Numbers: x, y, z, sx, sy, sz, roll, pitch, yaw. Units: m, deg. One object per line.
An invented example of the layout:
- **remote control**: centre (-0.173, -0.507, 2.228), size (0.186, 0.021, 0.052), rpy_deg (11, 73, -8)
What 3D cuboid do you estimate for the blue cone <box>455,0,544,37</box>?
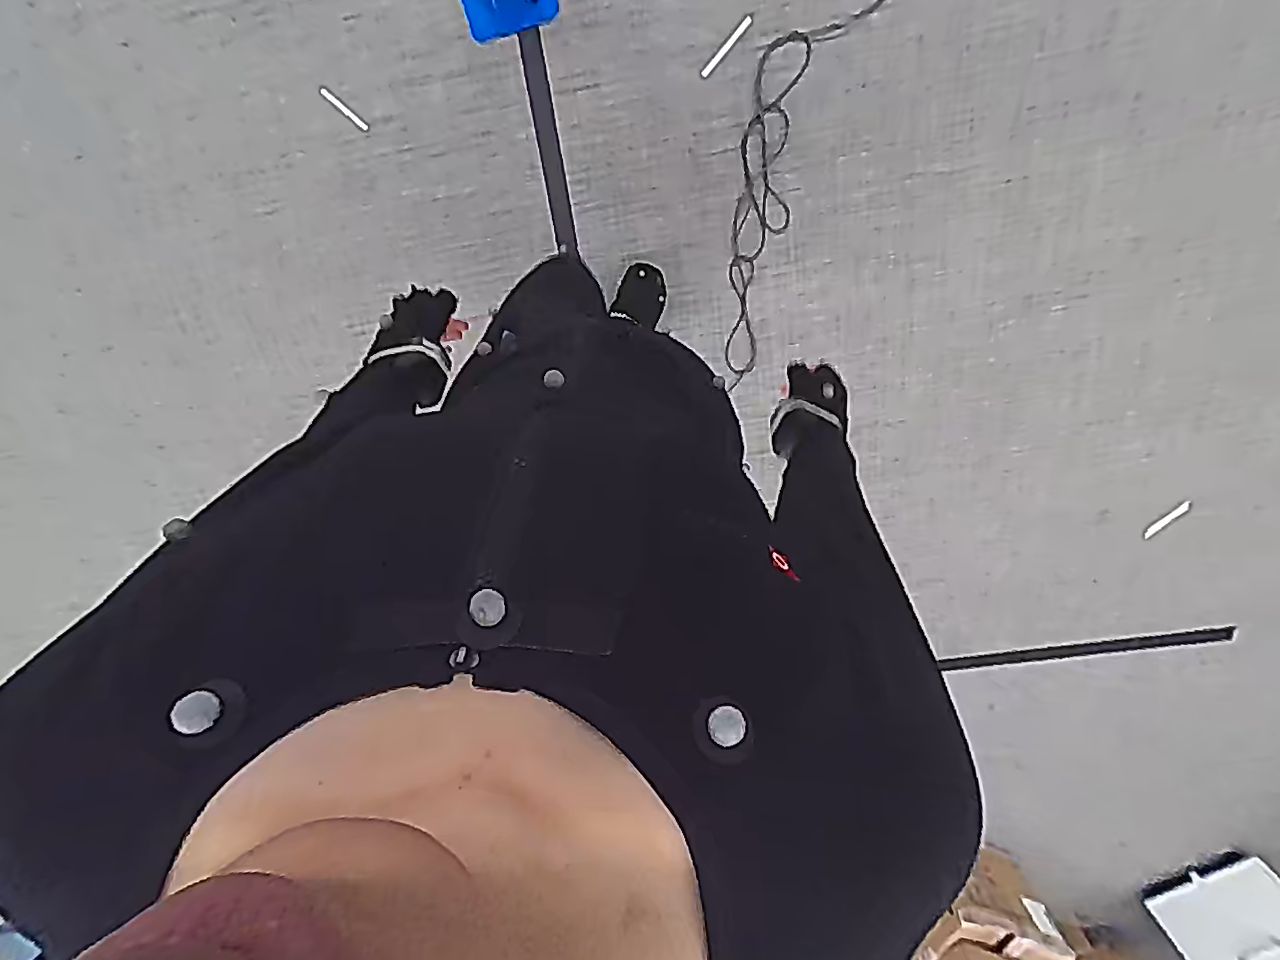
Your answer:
- **blue cone**: centre (-0.311, -0.992, 0.963), size (0.192, 0.380, 0.193), rpy_deg (-11, 109, 7)
